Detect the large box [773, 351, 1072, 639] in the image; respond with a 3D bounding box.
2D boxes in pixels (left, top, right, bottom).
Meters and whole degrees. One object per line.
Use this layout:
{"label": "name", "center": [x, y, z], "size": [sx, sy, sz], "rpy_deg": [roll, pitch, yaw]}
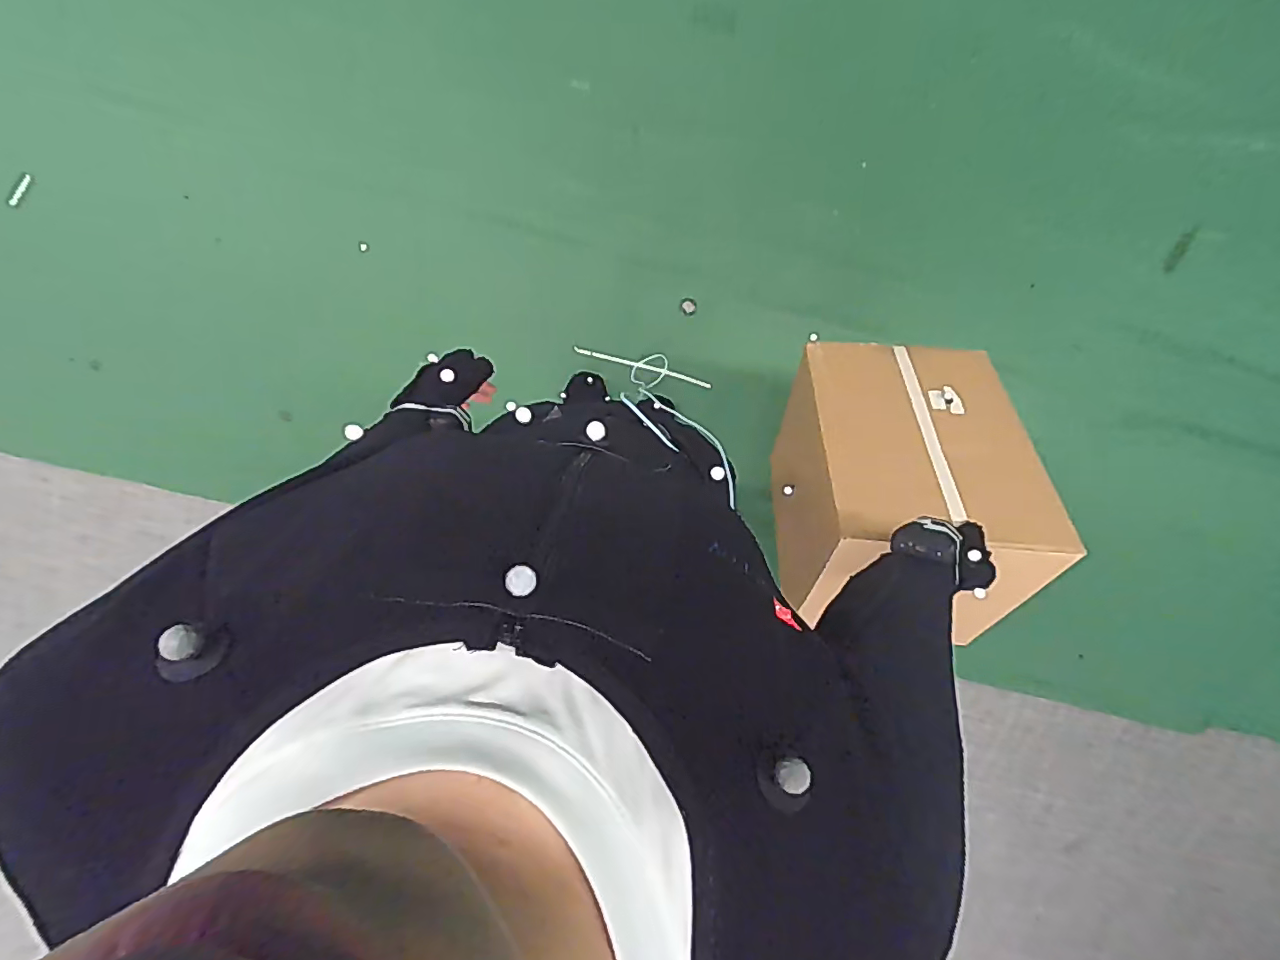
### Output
{"label": "large box", "center": [0.430, 0.027, 0.951], "size": [0.320, 0.408, 0.320], "rpy_deg": [5, 141, 2]}
